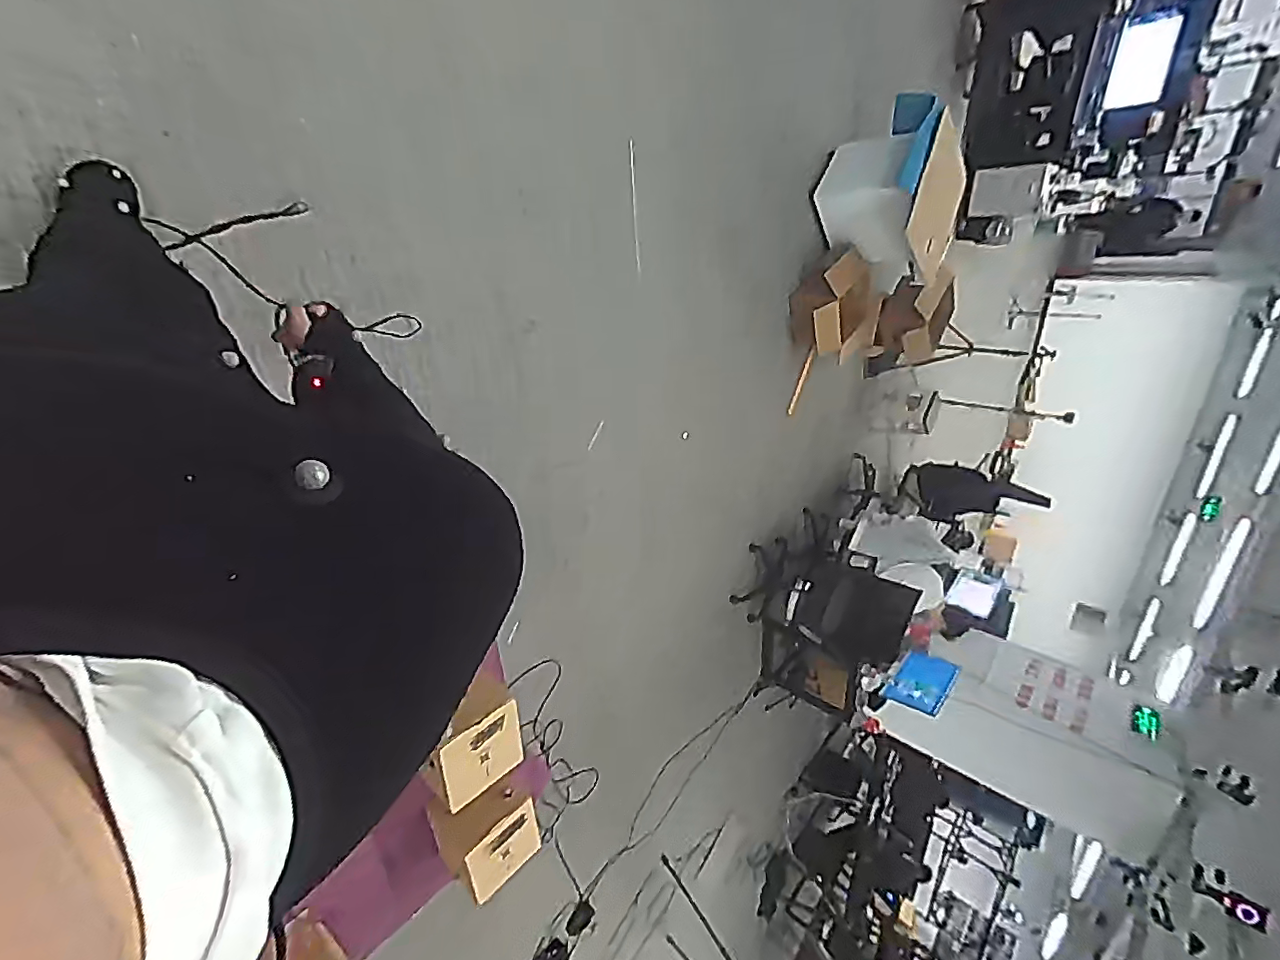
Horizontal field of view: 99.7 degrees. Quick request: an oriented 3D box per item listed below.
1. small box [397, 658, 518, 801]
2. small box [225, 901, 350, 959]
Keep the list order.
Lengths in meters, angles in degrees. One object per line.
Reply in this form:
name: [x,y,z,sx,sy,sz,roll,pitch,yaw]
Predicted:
small box: [-0.371,0.490,1.099,0.168,0.176,0.179,-24,124,-42]
small box: [-0.628,0.924,0.979,0.168,0.176,0.179,-32,127,-38]
